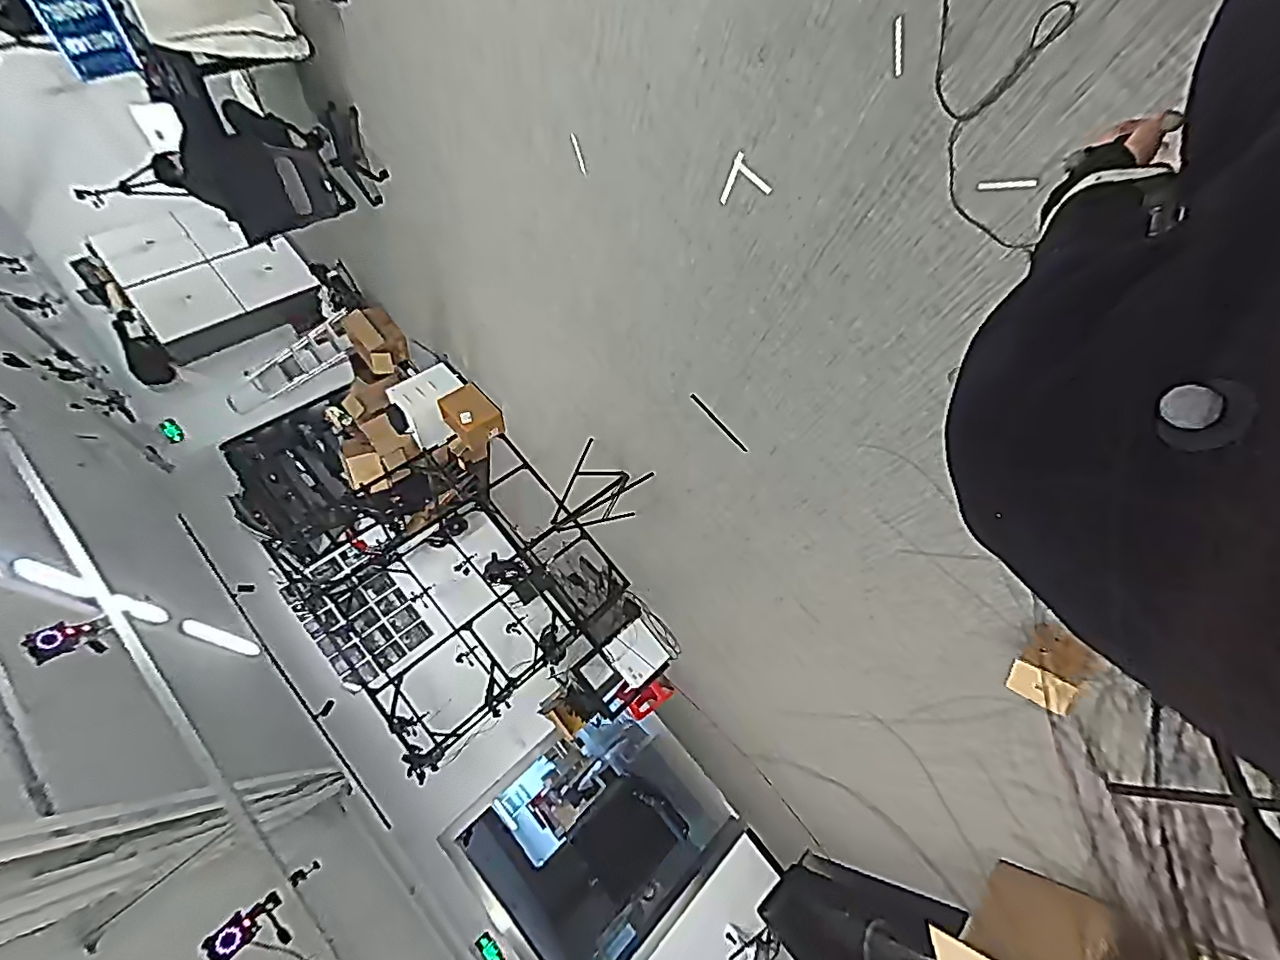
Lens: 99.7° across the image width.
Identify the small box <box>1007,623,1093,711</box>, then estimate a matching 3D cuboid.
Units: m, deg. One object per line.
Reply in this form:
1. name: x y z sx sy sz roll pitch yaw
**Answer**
1. small box: 1.340 0.605 1.766 0.168 0.176 0.179 28 146 43
